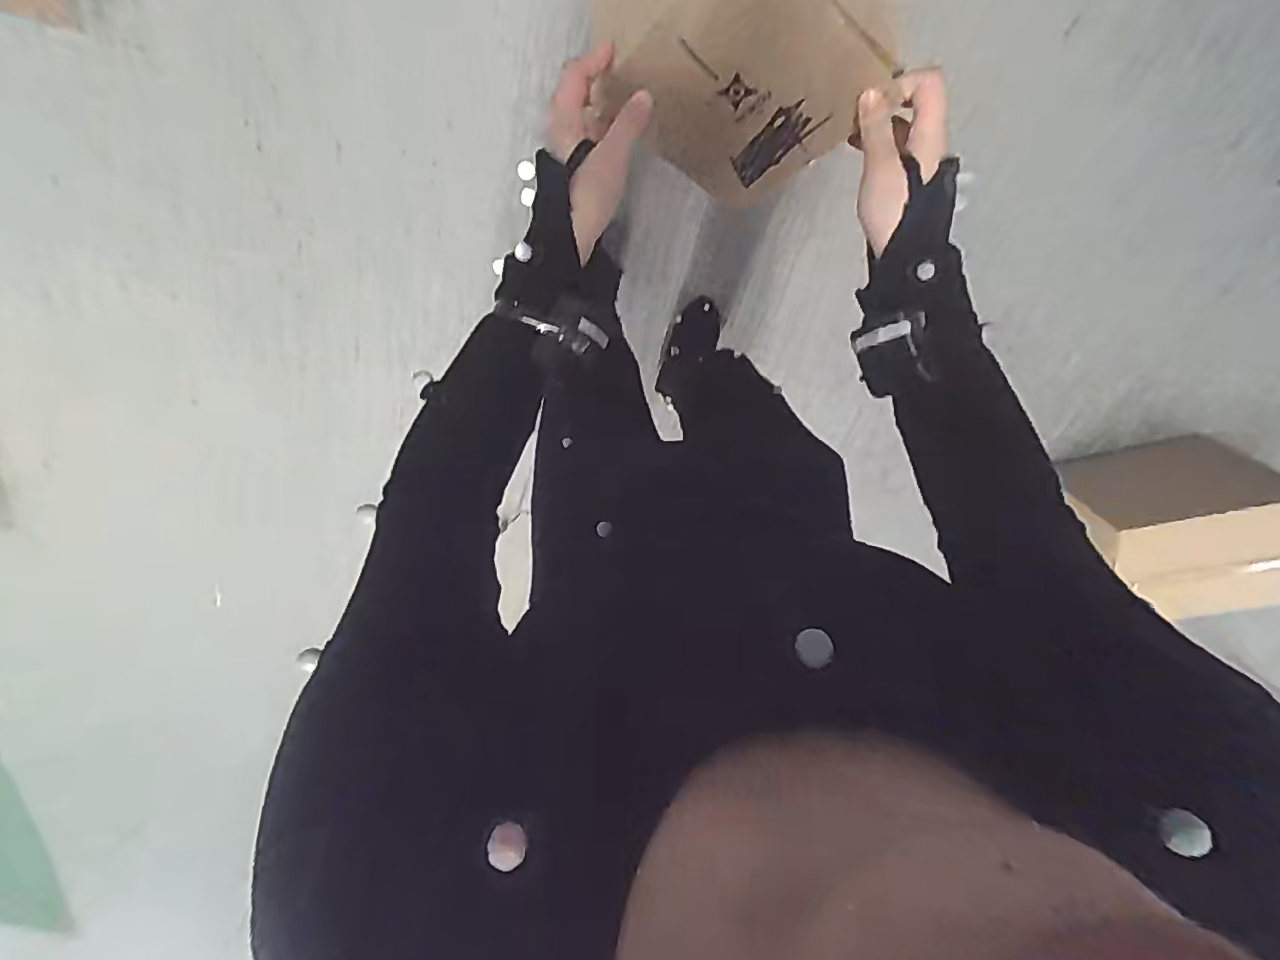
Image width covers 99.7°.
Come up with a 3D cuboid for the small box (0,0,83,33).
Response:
[{"bbox_3d":[-1.130,-0.927,0.935,0.168,0.176,0.179,20,118,-9],"label":"small box"}]
